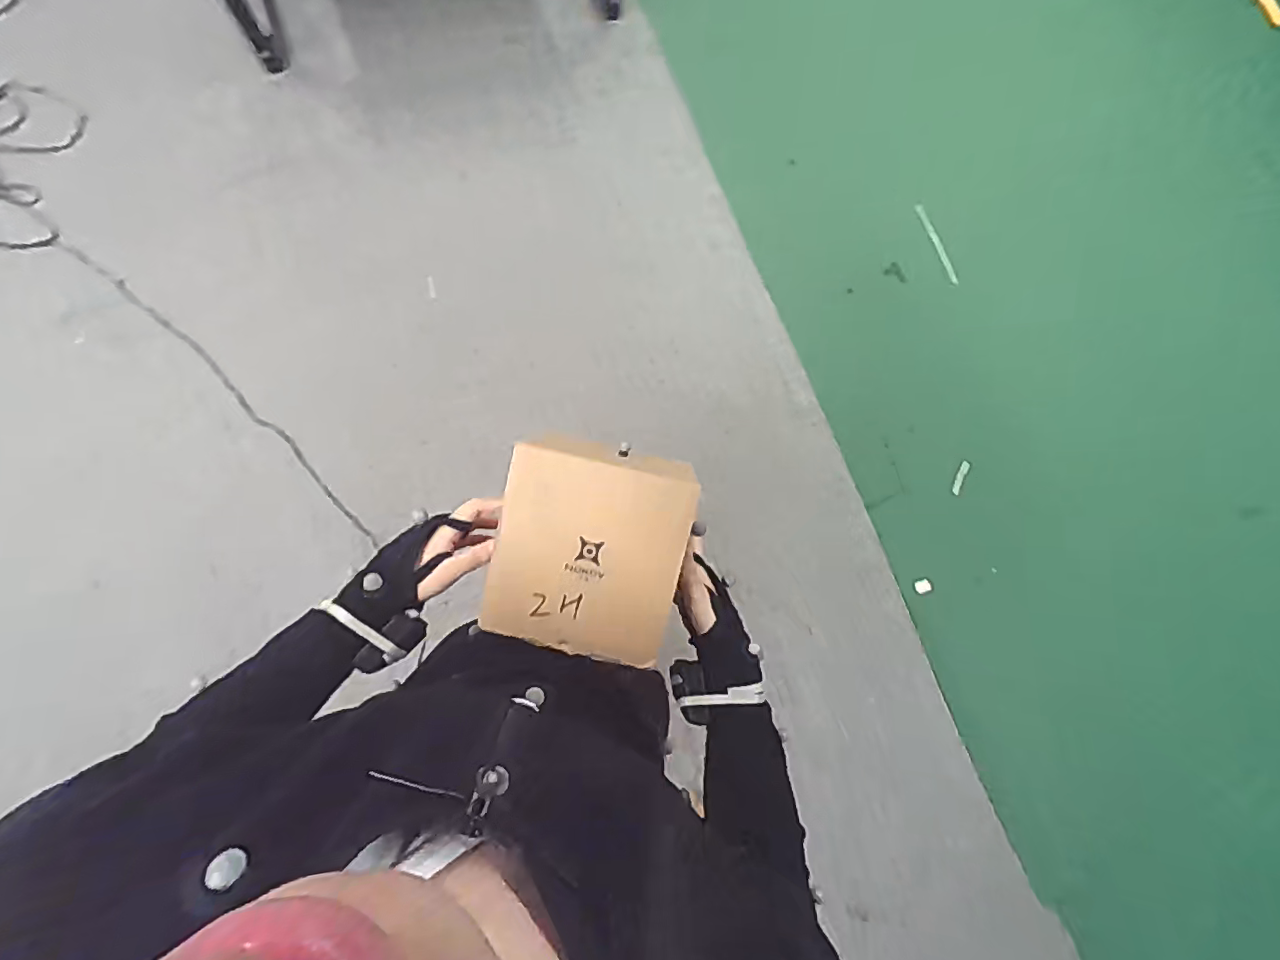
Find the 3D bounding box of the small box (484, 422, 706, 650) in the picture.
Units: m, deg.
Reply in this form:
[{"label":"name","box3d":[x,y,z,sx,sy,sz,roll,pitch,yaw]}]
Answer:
[{"label":"small box","box3d":[-0.041,0.042,0.556,0.168,0.176,0.179,14,97,0]}]
